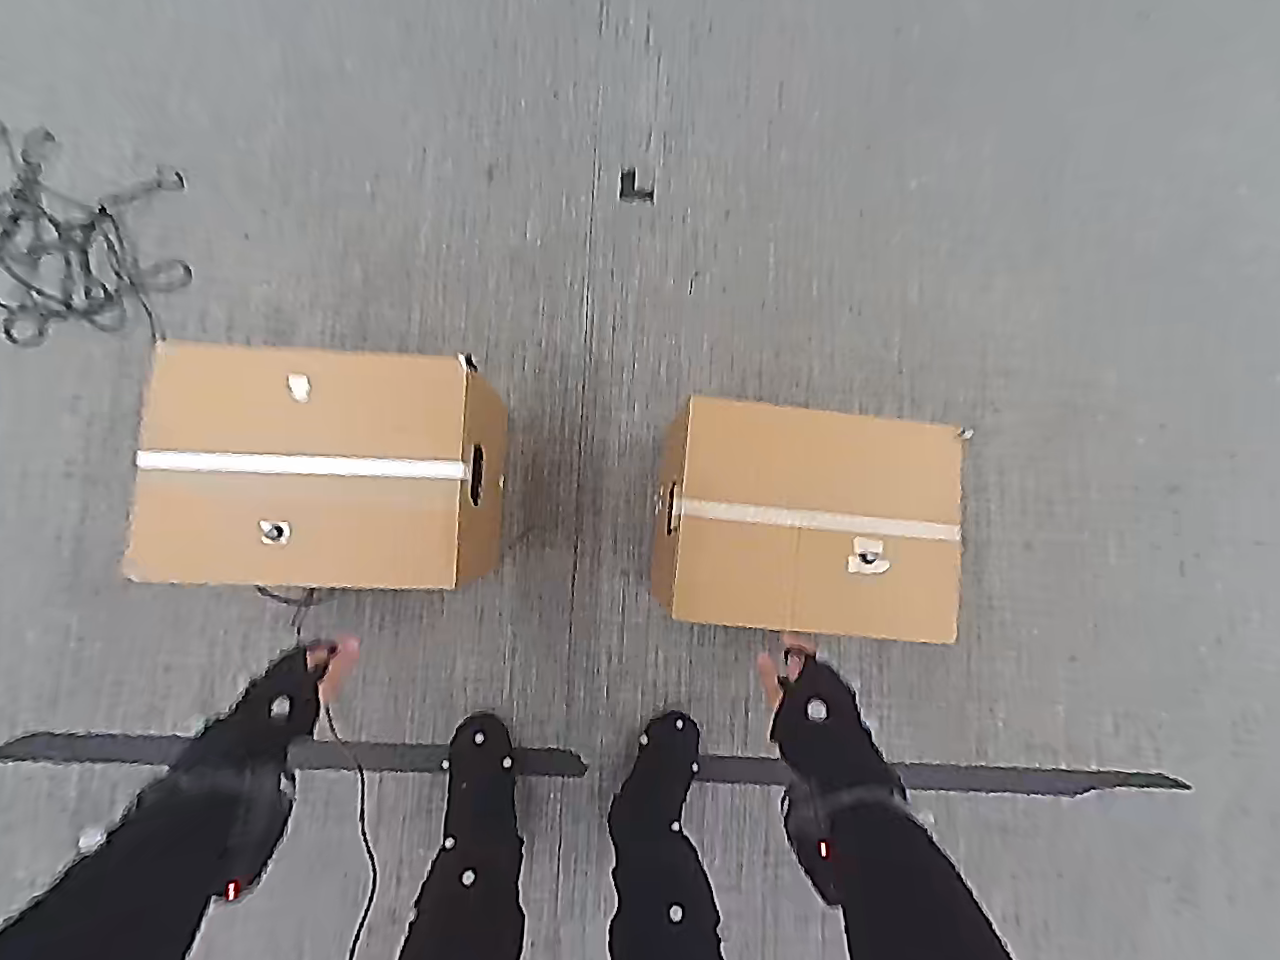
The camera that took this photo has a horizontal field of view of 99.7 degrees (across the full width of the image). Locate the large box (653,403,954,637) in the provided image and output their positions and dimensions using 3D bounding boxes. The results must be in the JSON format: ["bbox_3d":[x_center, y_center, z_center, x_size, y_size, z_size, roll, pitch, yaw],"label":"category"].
[{"bbox_3d":[0.245,0.075,0.923,0.408,0.320,0.320,6,84,-5],"label":"large box"}]
